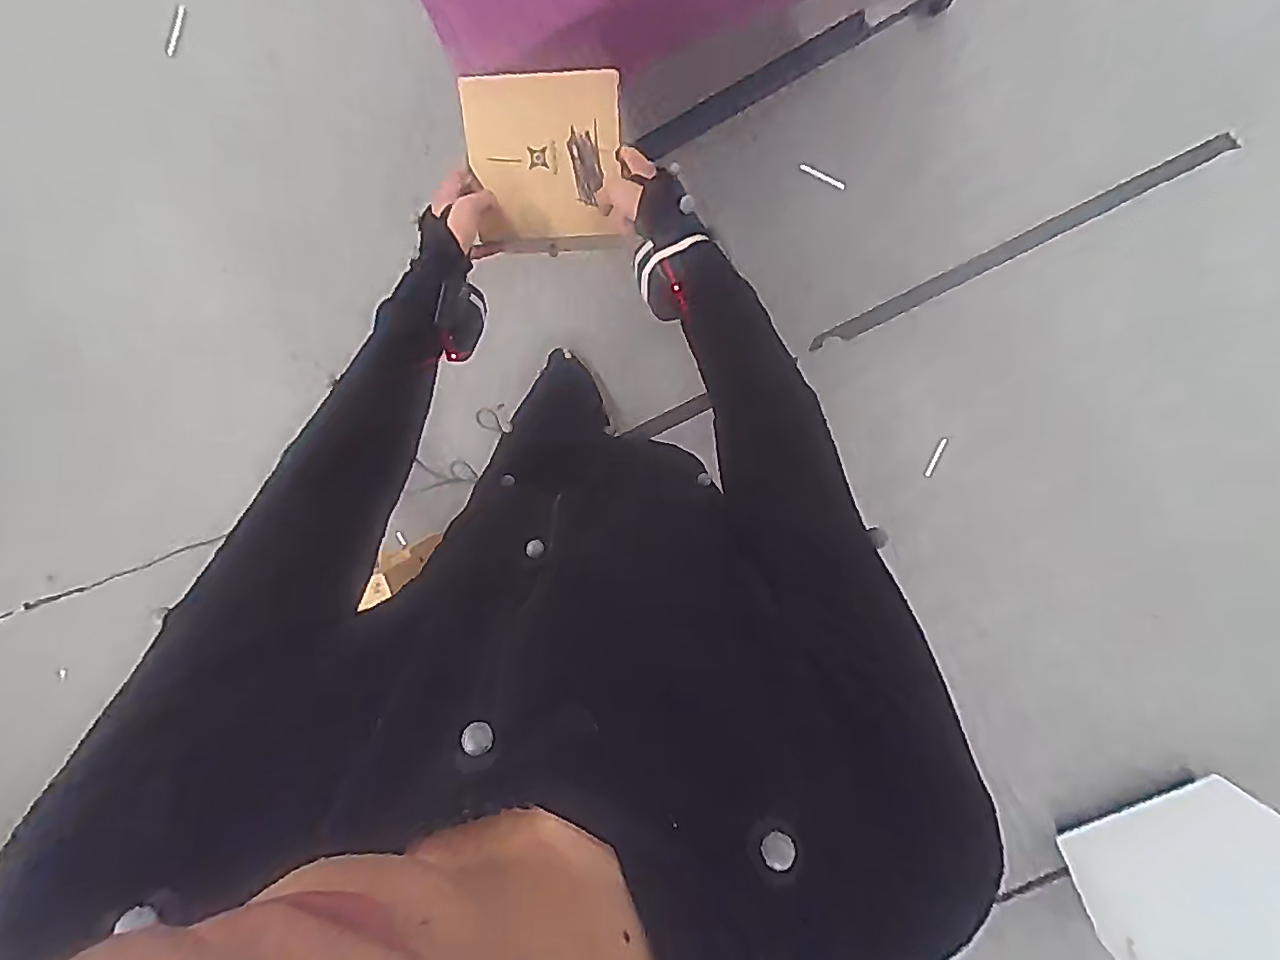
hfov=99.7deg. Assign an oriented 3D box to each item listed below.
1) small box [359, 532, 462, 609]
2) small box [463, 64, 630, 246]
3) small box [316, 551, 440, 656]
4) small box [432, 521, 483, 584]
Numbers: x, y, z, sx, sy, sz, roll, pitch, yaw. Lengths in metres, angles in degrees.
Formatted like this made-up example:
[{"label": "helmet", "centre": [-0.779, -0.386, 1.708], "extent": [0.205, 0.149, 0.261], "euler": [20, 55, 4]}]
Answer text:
[{"label": "small box", "centre": [-0.600, 0.260, 1.430], "extent": [0.168, 0.176, 0.179], "euler": [-24, 96, 5]}, {"label": "small box", "centre": [-0.105, -0.393, 0.681], "extent": [0.179, 0.176, 0.168], "euler": [-3, 108, -1]}, {"label": "small box", "centre": [-0.603, 0.283, 1.267], "extent": [0.179, 0.176, 0.168], "euler": [-17, 96, 5]}, {"label": "small box", "centre": [-0.594, 0.241, 1.591], "extent": [0.179, 0.176, 0.168], "euler": [-26, 96, 5]}]
